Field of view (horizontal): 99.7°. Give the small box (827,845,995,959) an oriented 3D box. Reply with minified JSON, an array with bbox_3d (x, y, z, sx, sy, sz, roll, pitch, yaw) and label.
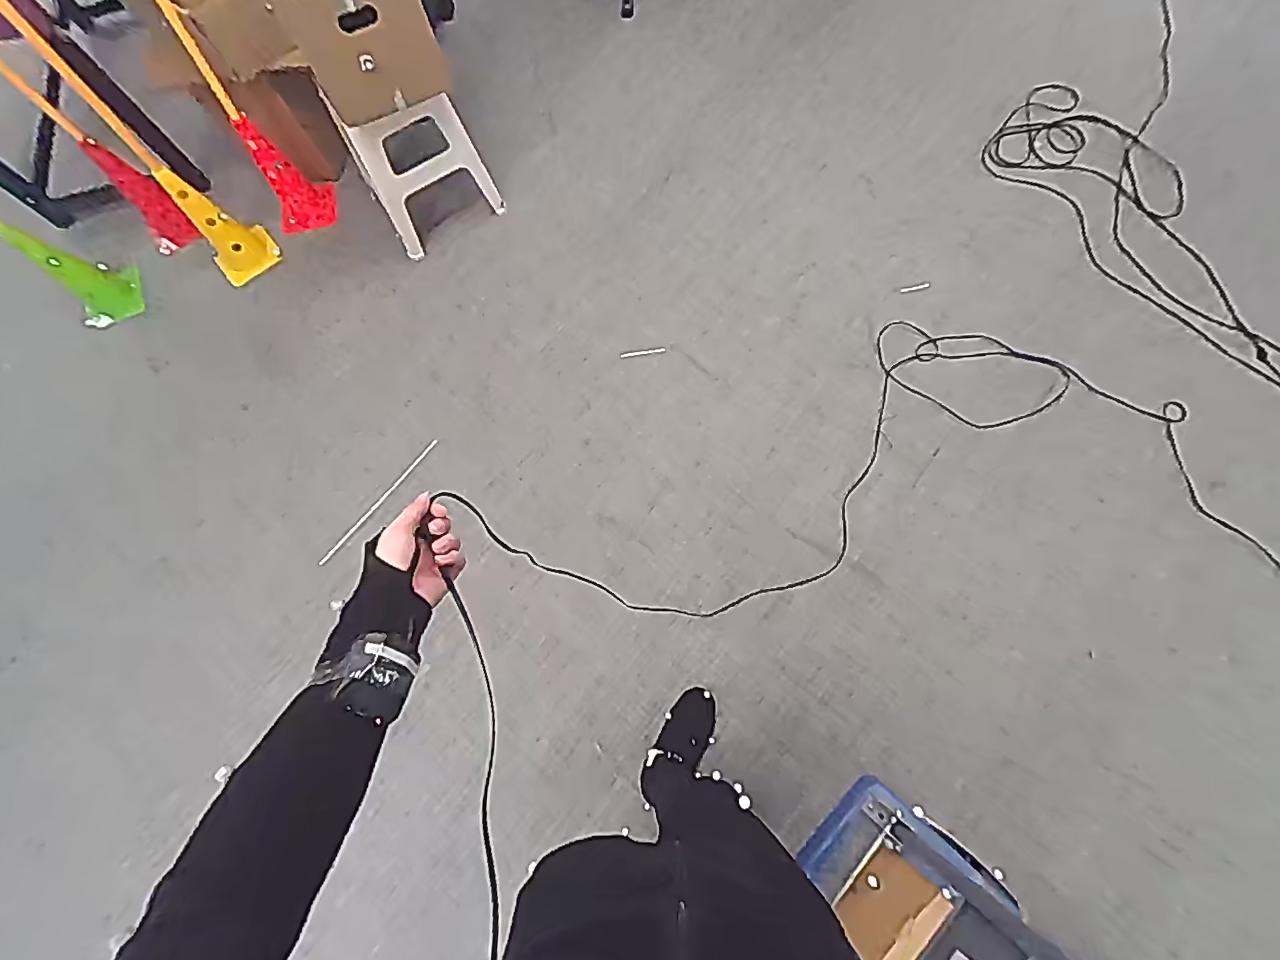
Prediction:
[{"bbox_3d":[0.459,0.778,0.919,0.168,0.176,0.179,-41,83,-9],"label":"small box"}]
